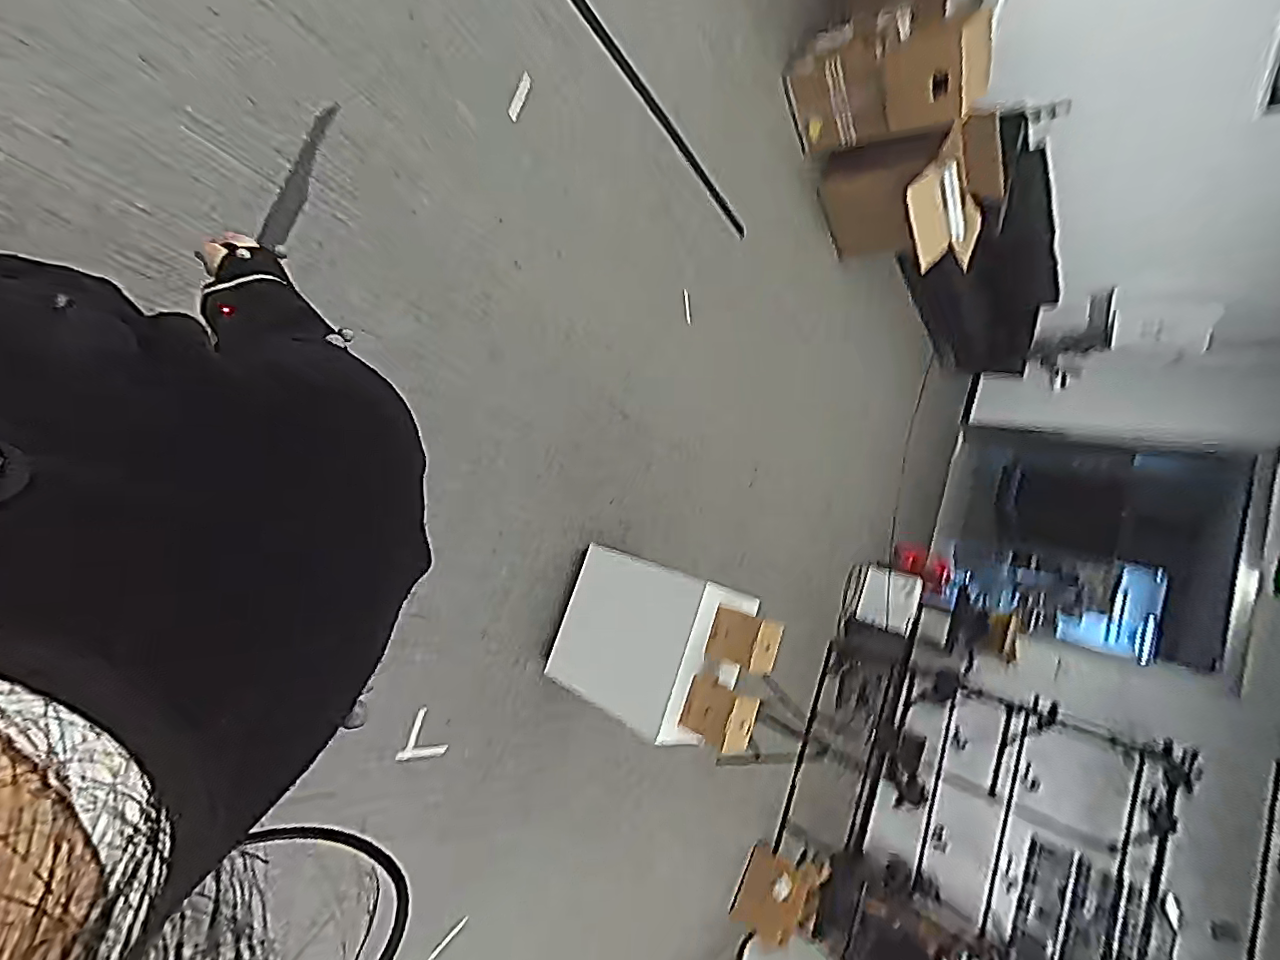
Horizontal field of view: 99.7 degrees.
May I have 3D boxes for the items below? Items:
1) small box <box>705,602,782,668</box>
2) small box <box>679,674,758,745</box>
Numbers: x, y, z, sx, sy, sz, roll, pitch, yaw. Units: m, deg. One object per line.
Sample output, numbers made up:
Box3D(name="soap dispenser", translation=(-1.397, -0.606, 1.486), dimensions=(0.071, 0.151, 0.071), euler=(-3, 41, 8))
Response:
Box3D(name="small box", translation=(0.344, 0.514, 1.806), dimensions=(0.179, 0.176, 0.168), euler=(25, 80, -48))
Box3D(name="small box", translation=(0.253, 0.742, 1.756), dimensions=(0.179, 0.176, 0.168), euler=(31, 74, -47))
